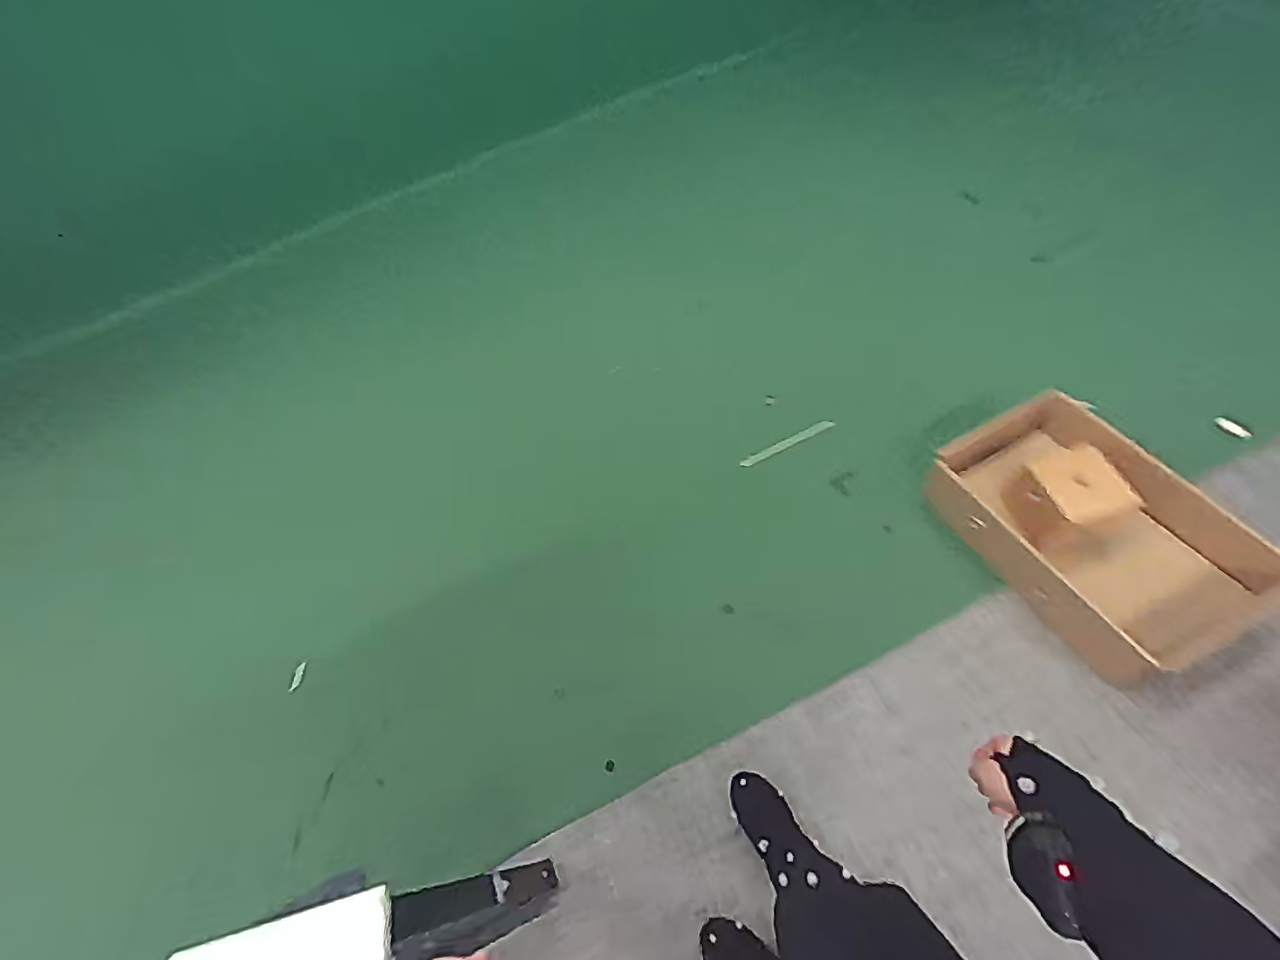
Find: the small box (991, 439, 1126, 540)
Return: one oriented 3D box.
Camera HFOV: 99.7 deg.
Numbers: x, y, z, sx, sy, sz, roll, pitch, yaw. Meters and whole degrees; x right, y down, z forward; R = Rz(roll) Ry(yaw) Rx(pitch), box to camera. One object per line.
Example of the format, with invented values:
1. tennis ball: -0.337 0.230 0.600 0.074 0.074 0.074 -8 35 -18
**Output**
1. small box: 1.021 0.032 1.340 0.168 0.176 0.179 -17 58 0
